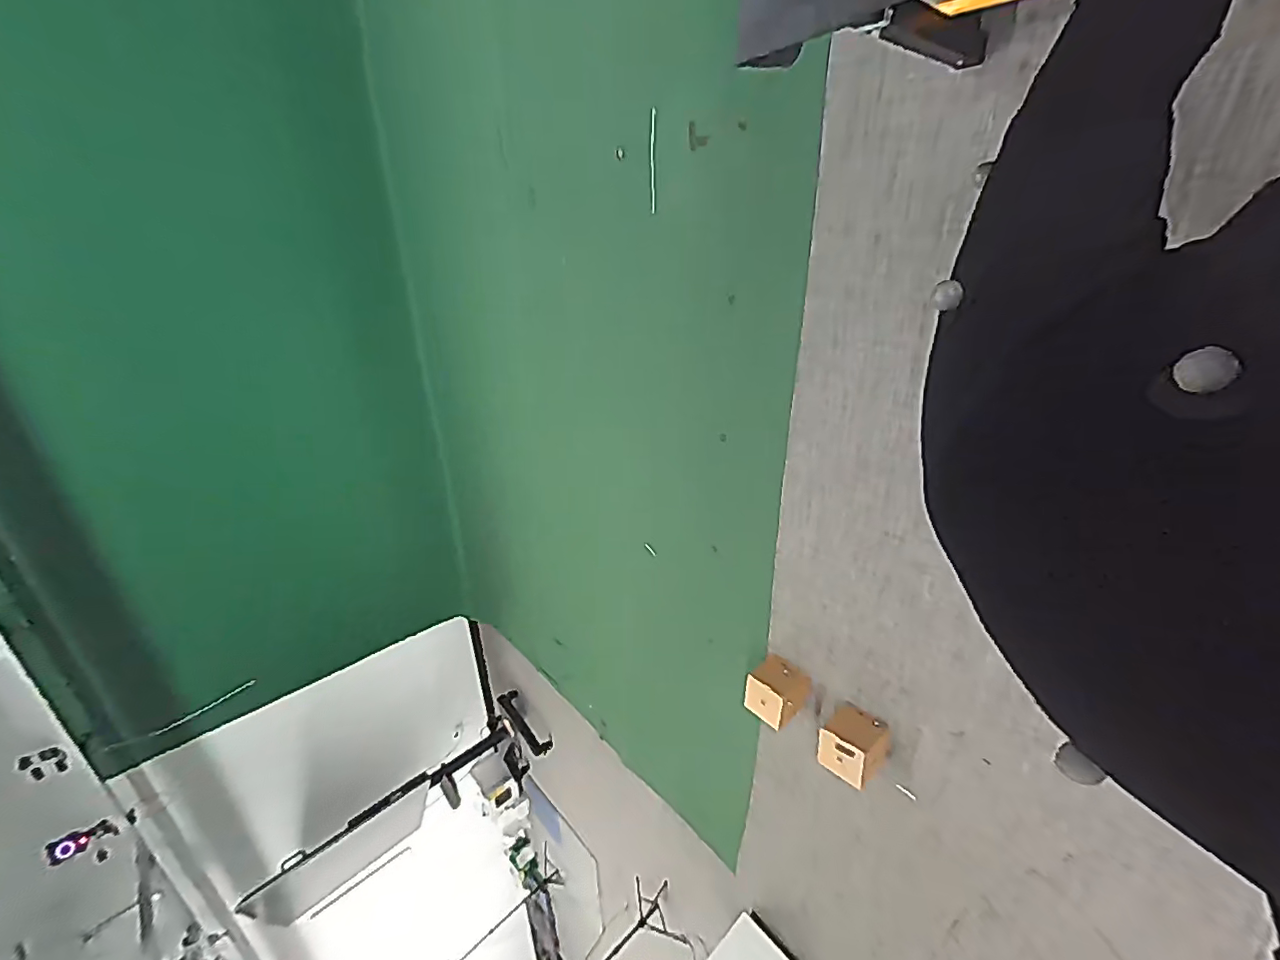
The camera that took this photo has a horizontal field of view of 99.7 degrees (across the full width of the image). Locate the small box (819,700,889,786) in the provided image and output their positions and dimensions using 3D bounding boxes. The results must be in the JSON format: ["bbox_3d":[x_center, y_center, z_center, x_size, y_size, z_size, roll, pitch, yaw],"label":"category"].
[{"bbox_3d":[0.752,0.913,1.897,0.168,0.176,0.179,20,123,45],"label":"small box"}]

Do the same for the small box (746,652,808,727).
[{"bbox_3d":[0.536,0.813,2.116,0.168,0.176,0.179,25,125,41],"label":"small box"}]
